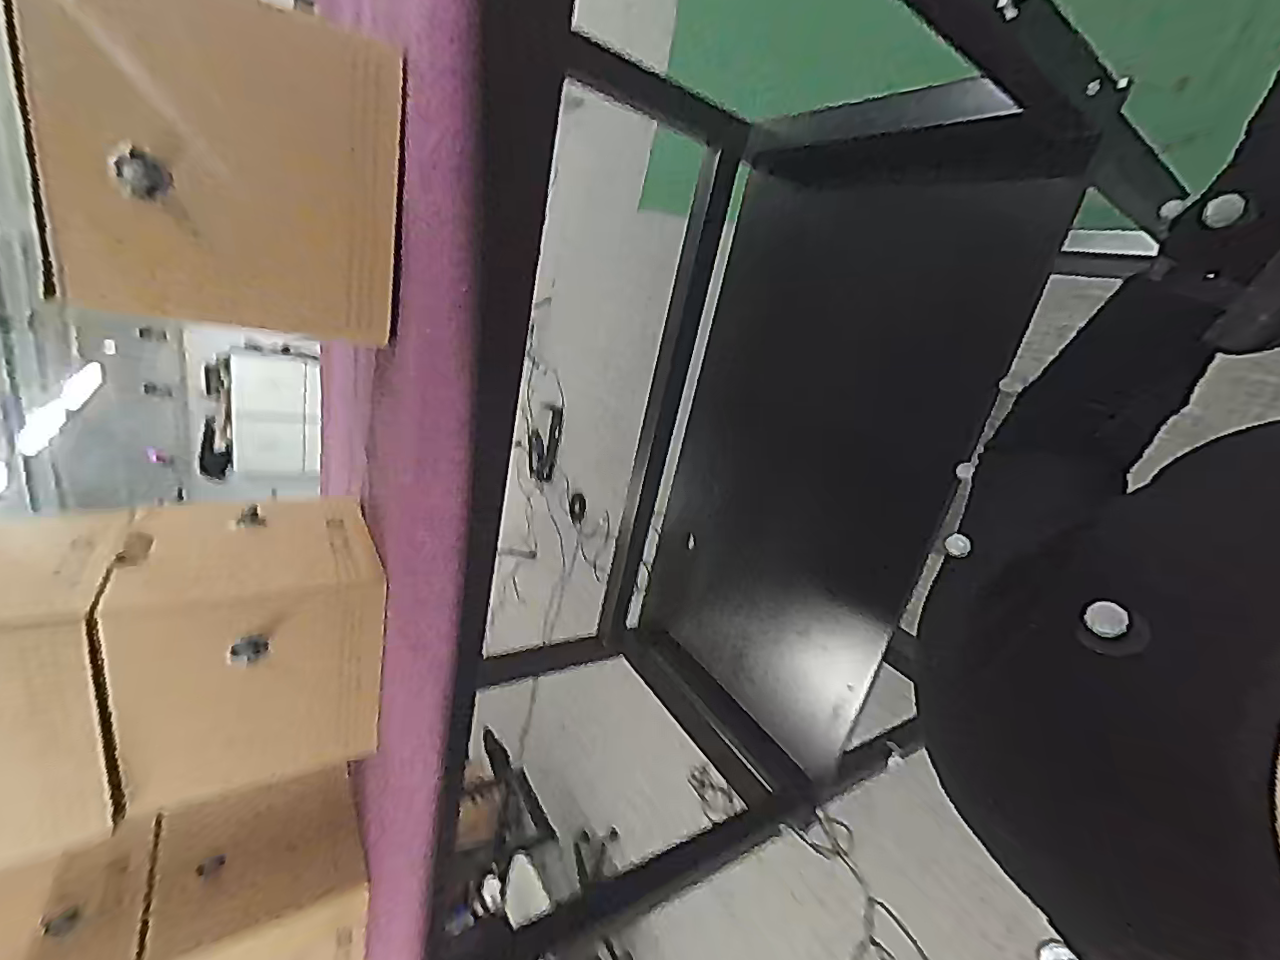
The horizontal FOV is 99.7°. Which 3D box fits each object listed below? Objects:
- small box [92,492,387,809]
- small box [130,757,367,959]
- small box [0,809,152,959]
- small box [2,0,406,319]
[{"bbox_3d":[-0.316,0.117,0.451,0.168,0.176,0.179,33,118,50],"label":"small box"},{"bbox_3d":[-0.381,0.418,0.542,0.179,0.176,0.168,33,115,49],"label":"small box"},{"bbox_3d":[-0.513,0.425,0.447,0.168,0.176,0.179,29,113,49],"label":"small box"},{"bbox_3d":[-0.259,-0.215,0.359,0.168,0.176,0.179,38,121,50],"label":"small box"}]
